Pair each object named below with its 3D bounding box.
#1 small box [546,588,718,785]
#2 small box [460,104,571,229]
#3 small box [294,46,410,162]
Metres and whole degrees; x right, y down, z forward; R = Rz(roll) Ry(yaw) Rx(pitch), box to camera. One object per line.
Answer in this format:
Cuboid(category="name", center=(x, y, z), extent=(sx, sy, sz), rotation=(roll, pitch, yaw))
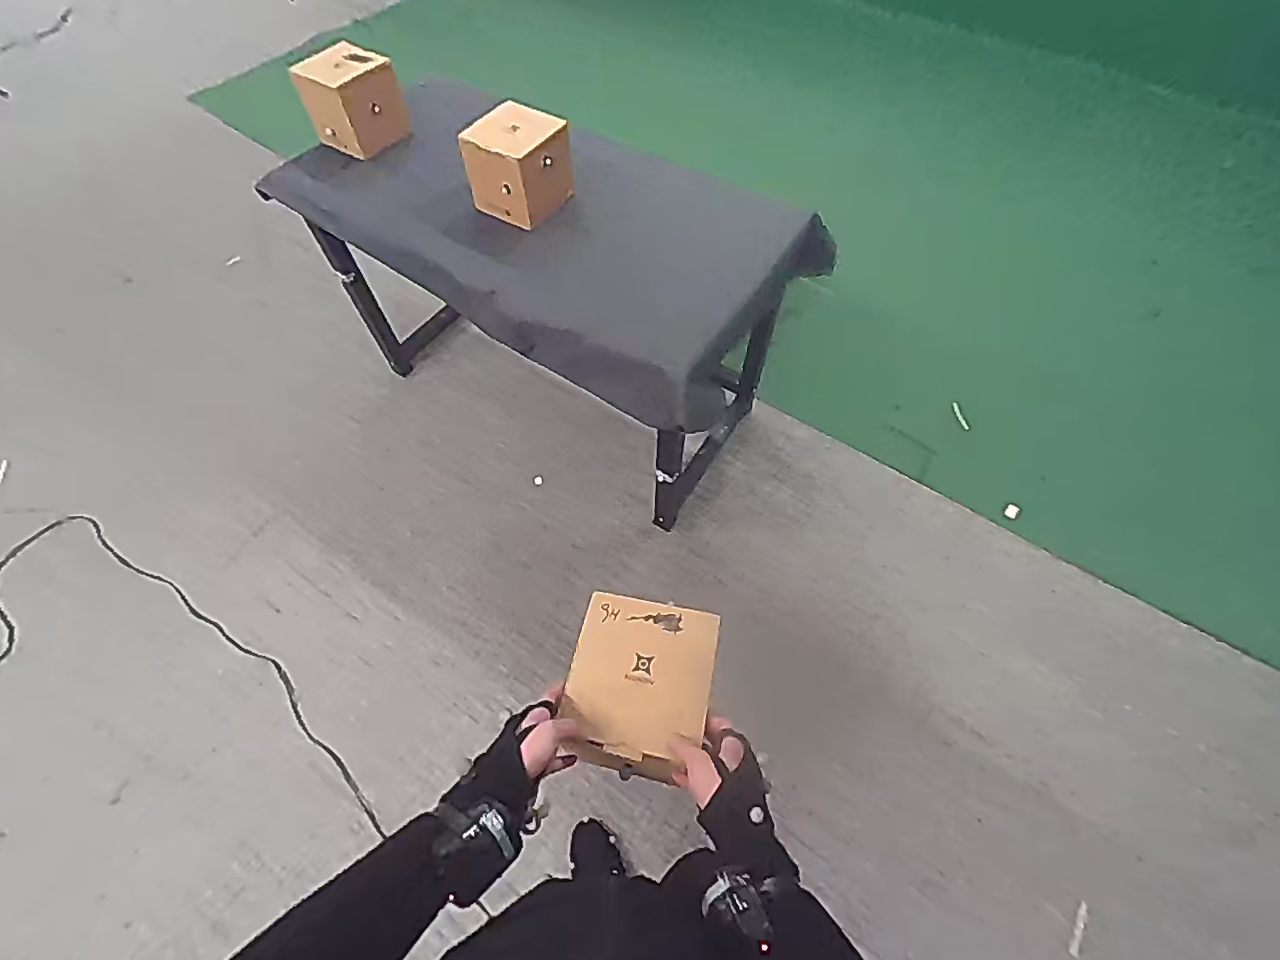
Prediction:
Cuboid(category="small box", center=(0.001, 0.263, 0.679), extent=(0.168, 0.176, 0.179), rotation=(10, 55, 10))
Cuboid(category="small box", center=(-0.268, -0.703, 1.222), extent=(0.168, 0.176, 0.179), rotation=(29, 62, 14))
Cuboid(category="small box", center=(-0.707, -0.942, 1.358), extent=(0.168, 0.176, 0.179), rotation=(29, 63, 16))
